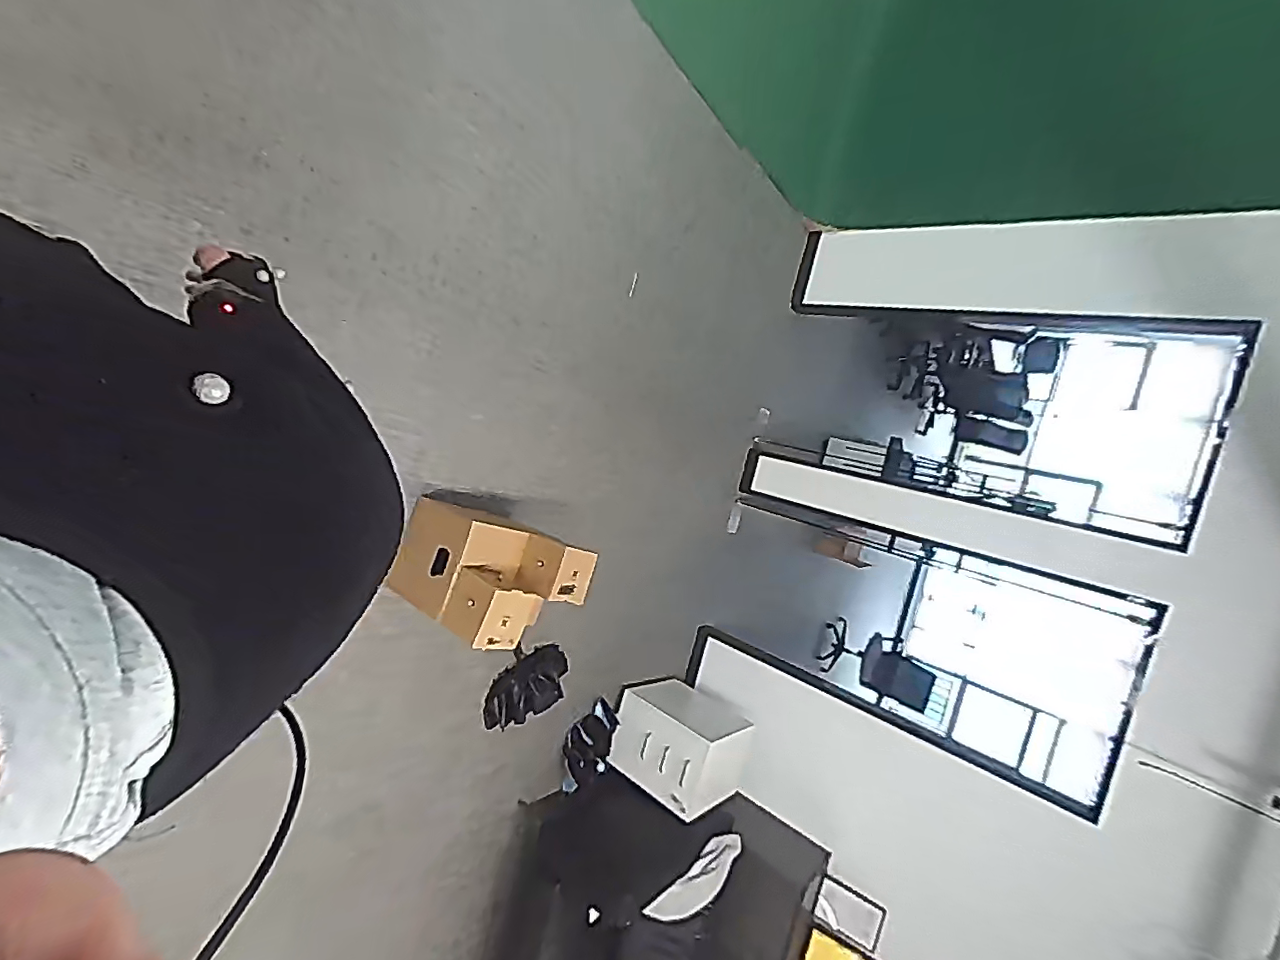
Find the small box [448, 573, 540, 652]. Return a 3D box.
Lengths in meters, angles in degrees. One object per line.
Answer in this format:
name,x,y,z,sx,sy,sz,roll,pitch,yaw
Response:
small box,-0.428,0.384,1.575,0.168,0.176,0.179,25,84,-54

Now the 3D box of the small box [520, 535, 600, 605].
small box,-0.264,0.293,1.760,0.168,0.176,0.179,25,79,-54
